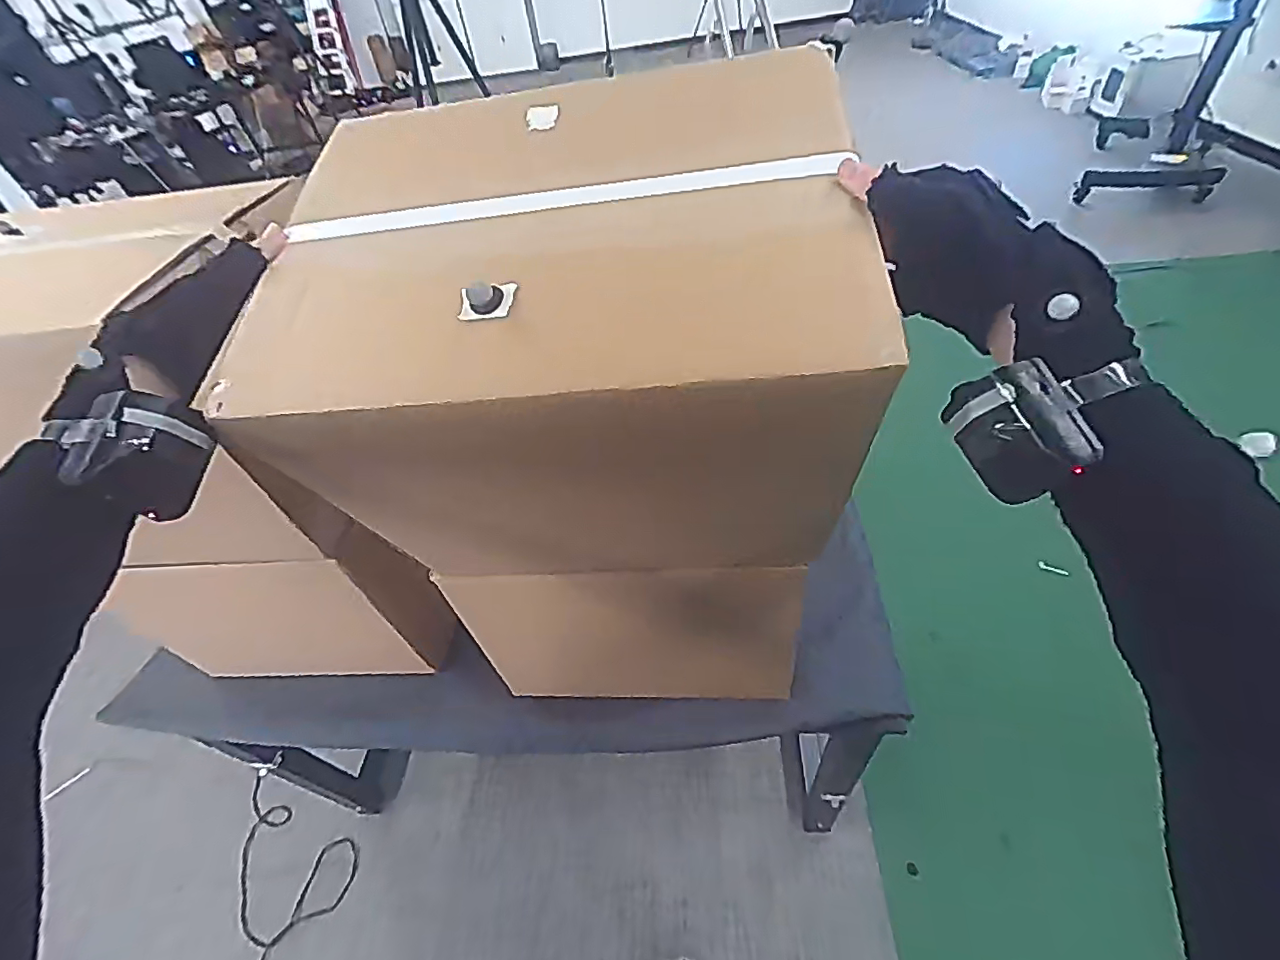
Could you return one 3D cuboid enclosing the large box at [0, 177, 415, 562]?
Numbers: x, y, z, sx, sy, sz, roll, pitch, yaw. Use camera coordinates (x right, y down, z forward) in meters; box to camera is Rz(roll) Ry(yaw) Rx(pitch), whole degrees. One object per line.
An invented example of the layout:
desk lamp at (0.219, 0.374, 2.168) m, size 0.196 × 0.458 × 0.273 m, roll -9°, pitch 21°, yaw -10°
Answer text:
large box at (-0.558, -0.118, 0.644) m, size 0.408 × 0.320 × 0.320 m, roll -3°, pitch 46°, yaw 8°
